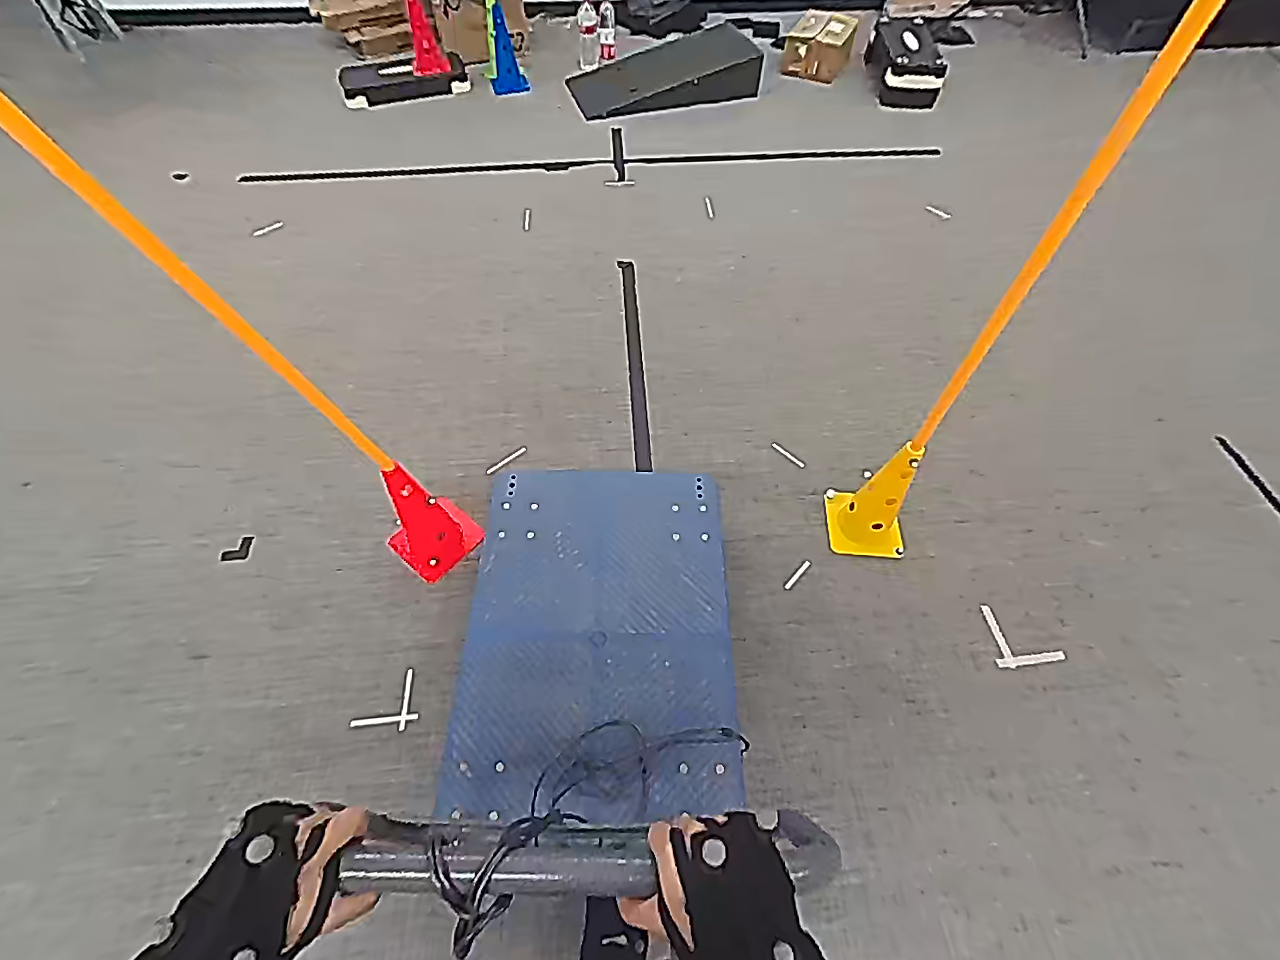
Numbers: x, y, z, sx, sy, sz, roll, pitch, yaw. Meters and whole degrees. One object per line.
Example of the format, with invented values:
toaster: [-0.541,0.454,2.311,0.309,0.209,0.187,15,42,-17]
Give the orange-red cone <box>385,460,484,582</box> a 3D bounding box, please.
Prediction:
orange-red cone: [-0.551,0.067,1.340,0.198,0.360,0.199,37,62,20]
